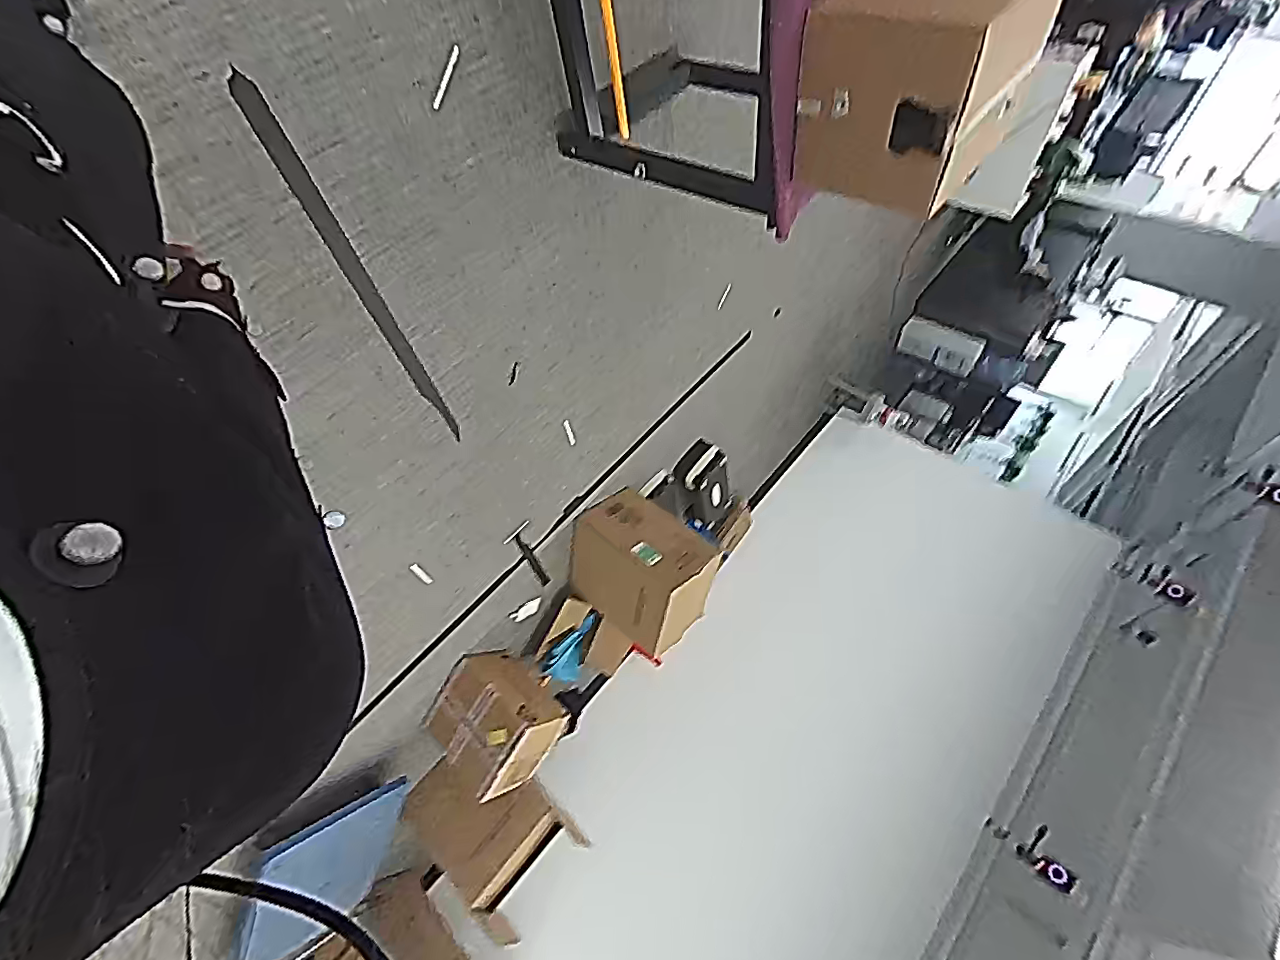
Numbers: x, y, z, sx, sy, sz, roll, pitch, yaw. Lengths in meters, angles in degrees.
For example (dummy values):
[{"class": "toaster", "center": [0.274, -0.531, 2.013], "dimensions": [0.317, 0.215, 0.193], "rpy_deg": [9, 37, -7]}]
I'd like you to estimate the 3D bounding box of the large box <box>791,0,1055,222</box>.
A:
[{"class": "large box", "center": [0.547, -0.794, 1.081], "dimensions": [0.408, 0.320, 0.320], "rpy_deg": [-46, 152, -21]}]
